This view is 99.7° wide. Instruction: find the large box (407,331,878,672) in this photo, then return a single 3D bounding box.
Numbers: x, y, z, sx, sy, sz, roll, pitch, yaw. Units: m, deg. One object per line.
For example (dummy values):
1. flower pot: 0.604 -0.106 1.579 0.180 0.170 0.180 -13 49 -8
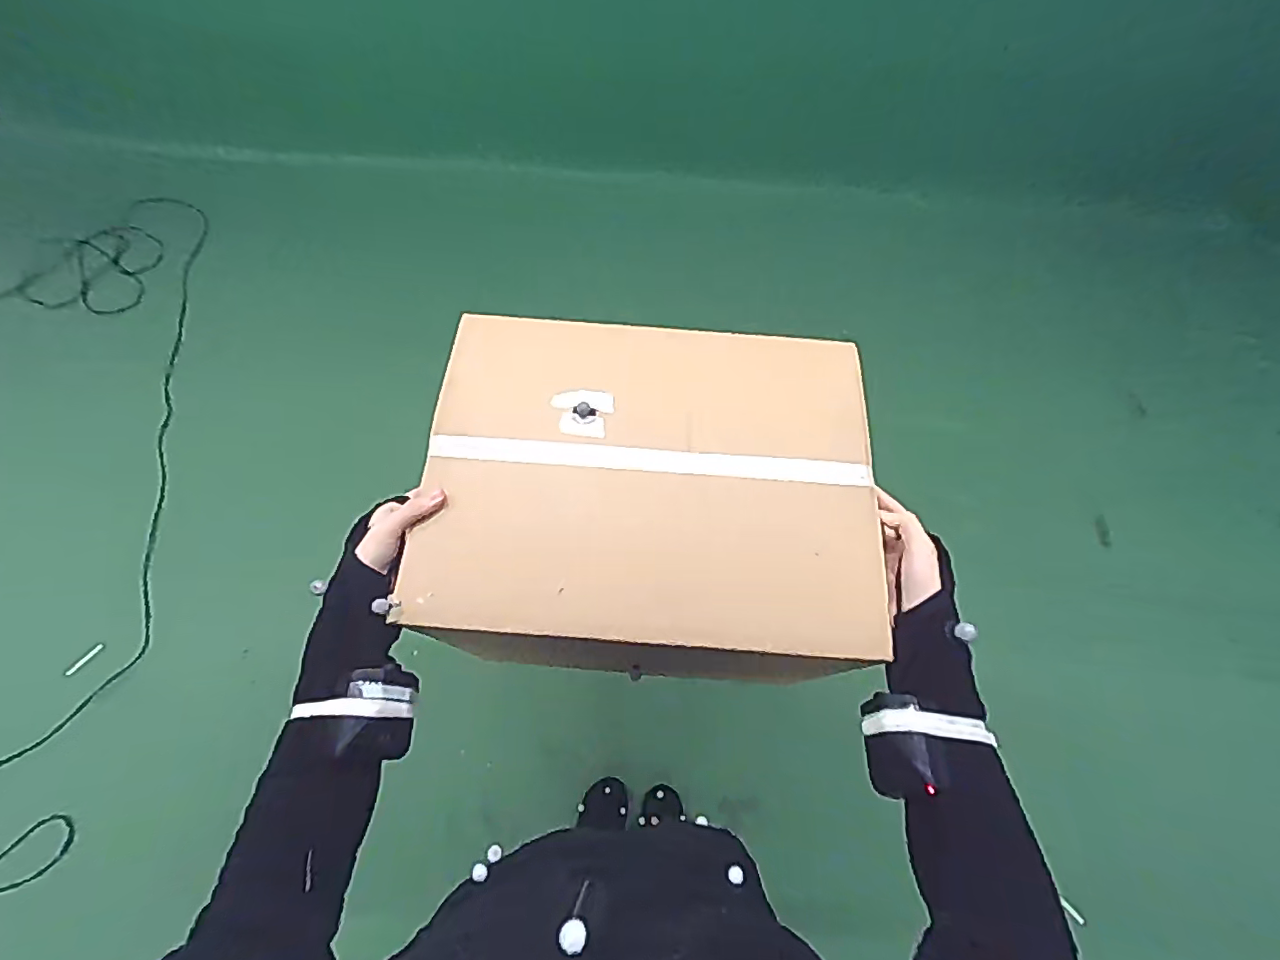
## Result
1. large box: 0.010 0.050 0.645 0.408 0.320 0.320 4 66 1
